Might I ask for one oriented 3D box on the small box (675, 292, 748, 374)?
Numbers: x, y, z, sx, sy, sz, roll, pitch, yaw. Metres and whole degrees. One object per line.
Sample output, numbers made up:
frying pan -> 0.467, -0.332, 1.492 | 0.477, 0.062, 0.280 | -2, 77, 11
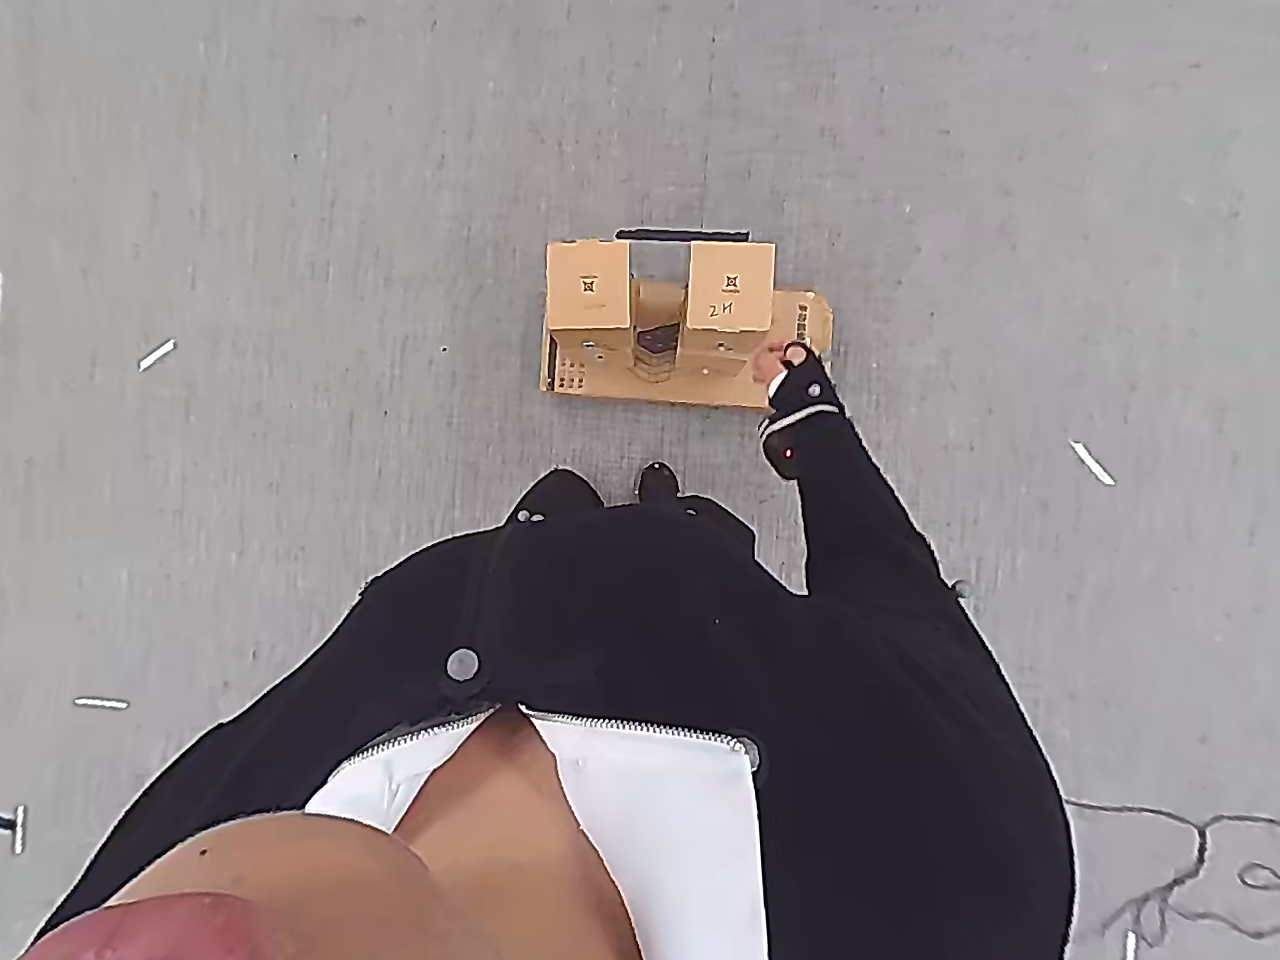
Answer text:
small box -> 0.176, -0.366, 1.302 | 0.168, 0.176, 0.179 | 8, 91, 3

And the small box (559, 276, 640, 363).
small box -> -0.091, -0.387, 1.310 | 0.168, 0.176, 0.179 | 6, 91, 2

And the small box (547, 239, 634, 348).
small box -> -0.099, -0.387, 1.146 | 0.168, 0.176, 0.179 | -2, 91, 3

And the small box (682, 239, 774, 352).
small box -> 0.177, -0.380, 1.136 | 0.168, 0.176, 0.179 | 4, 90, 3
